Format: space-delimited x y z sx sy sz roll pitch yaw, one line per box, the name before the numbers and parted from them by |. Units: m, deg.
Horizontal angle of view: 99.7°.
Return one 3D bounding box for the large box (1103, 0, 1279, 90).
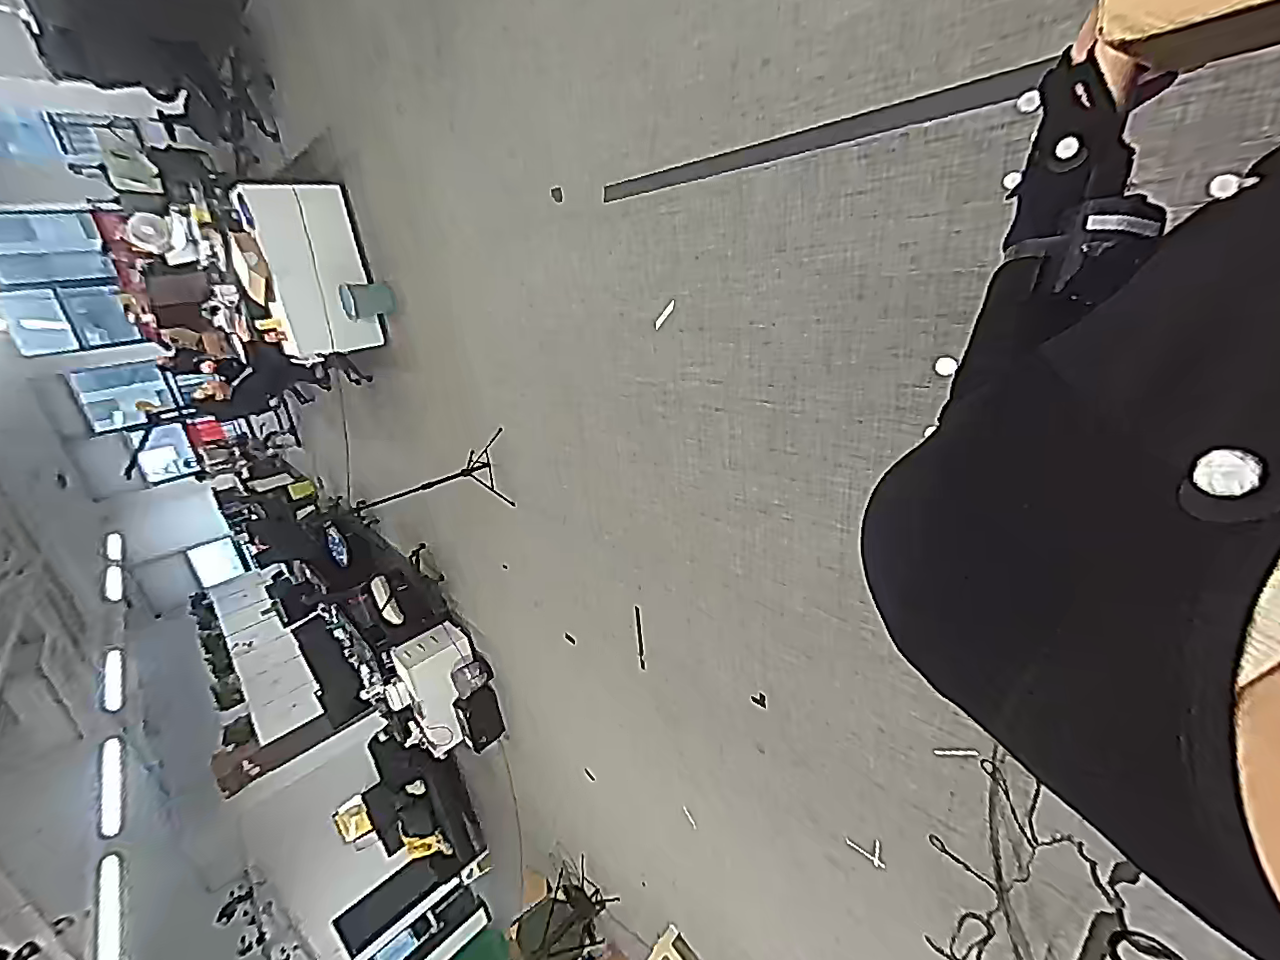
large box | 0.404 -0.349 0.134 0.408 0.320 0.320 11 123 42
